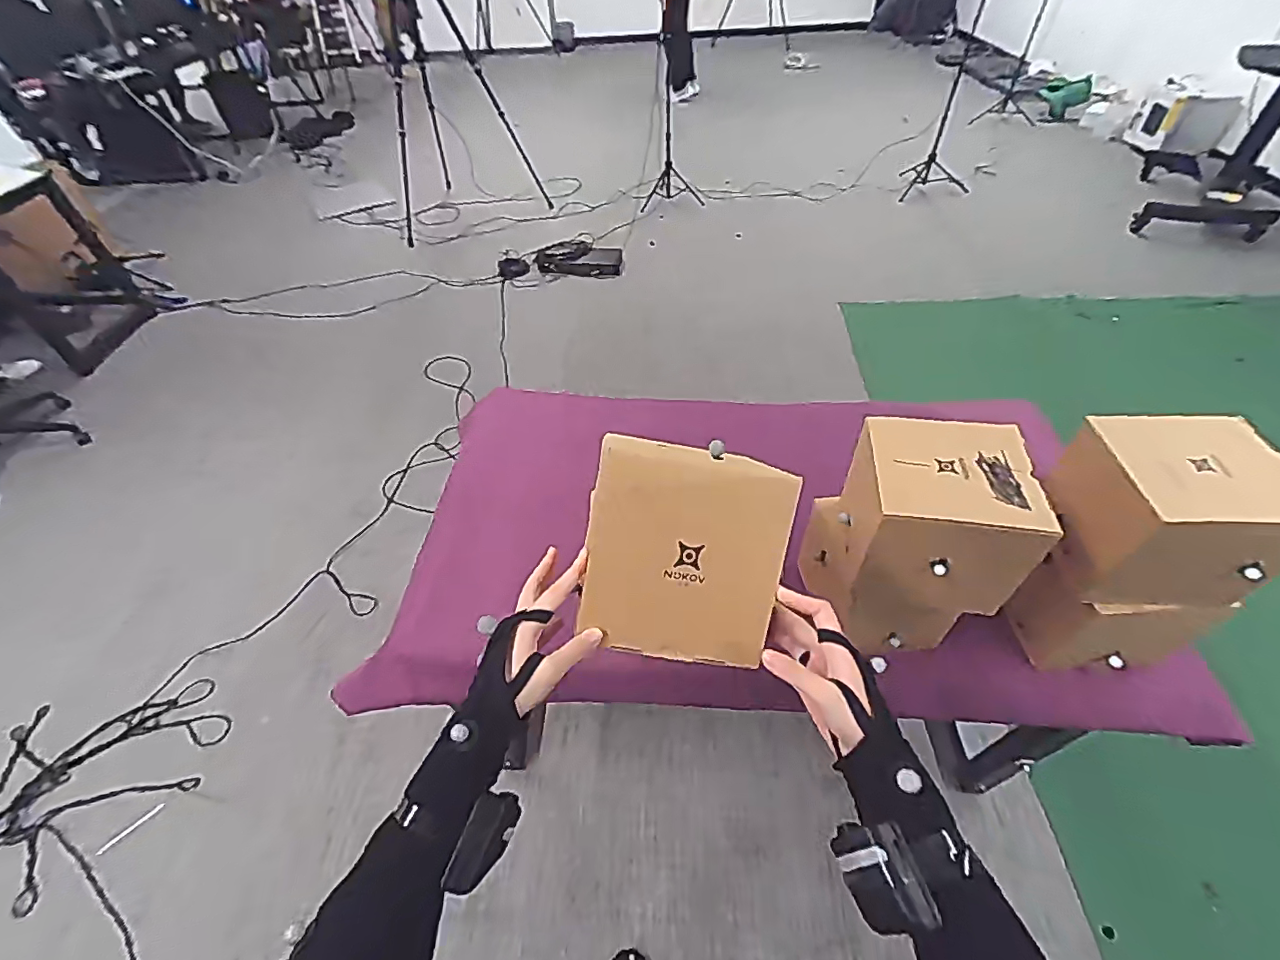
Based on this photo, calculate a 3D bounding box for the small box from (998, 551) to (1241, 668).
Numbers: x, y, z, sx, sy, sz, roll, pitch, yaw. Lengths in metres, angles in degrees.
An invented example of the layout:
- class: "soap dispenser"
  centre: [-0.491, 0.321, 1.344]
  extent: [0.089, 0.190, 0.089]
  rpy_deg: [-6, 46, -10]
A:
- class: "small box"
  centre: [0.645, 0.153, 0.766]
  extent: [0.179, 0.176, 0.168]
  rpy_deg: [-3, 47, 2]

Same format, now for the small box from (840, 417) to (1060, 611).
- class: "small box"
  centre: [0.357, 0.044, 0.665]
  extent: [0.179, 0.176, 0.168]
  rpy_deg: [5, 47, 10]

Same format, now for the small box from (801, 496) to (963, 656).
- class: "small box"
  centre: [0.350, 0.138, 0.802]
  extent: [0.168, 0.176, 0.179]
  rpy_deg: [-5, 47, 0]

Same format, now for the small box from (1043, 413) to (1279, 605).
- class: "small box"
  centre: [0.624, 0.037, 0.651]
  extent: [0.179, 0.176, 0.168]
  rpy_deg: [1, 48, 6]
